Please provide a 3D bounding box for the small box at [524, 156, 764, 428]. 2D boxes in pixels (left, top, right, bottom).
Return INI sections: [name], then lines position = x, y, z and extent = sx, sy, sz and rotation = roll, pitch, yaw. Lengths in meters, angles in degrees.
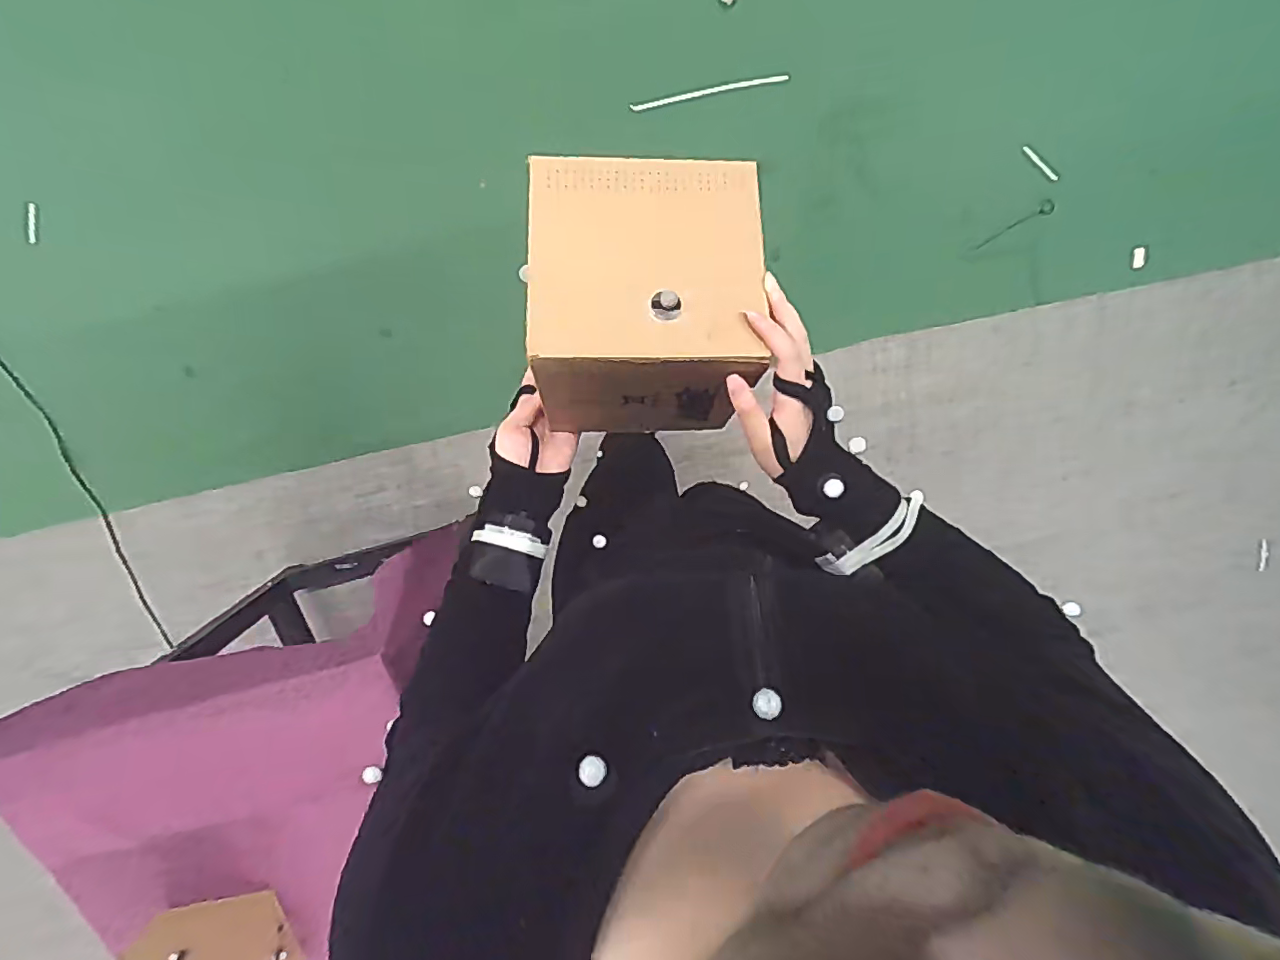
[small box]
position = -0.004, -0.151, 0.474
extent = 0.179, 0.168, 0.176
rotation = 0, 77, -4
